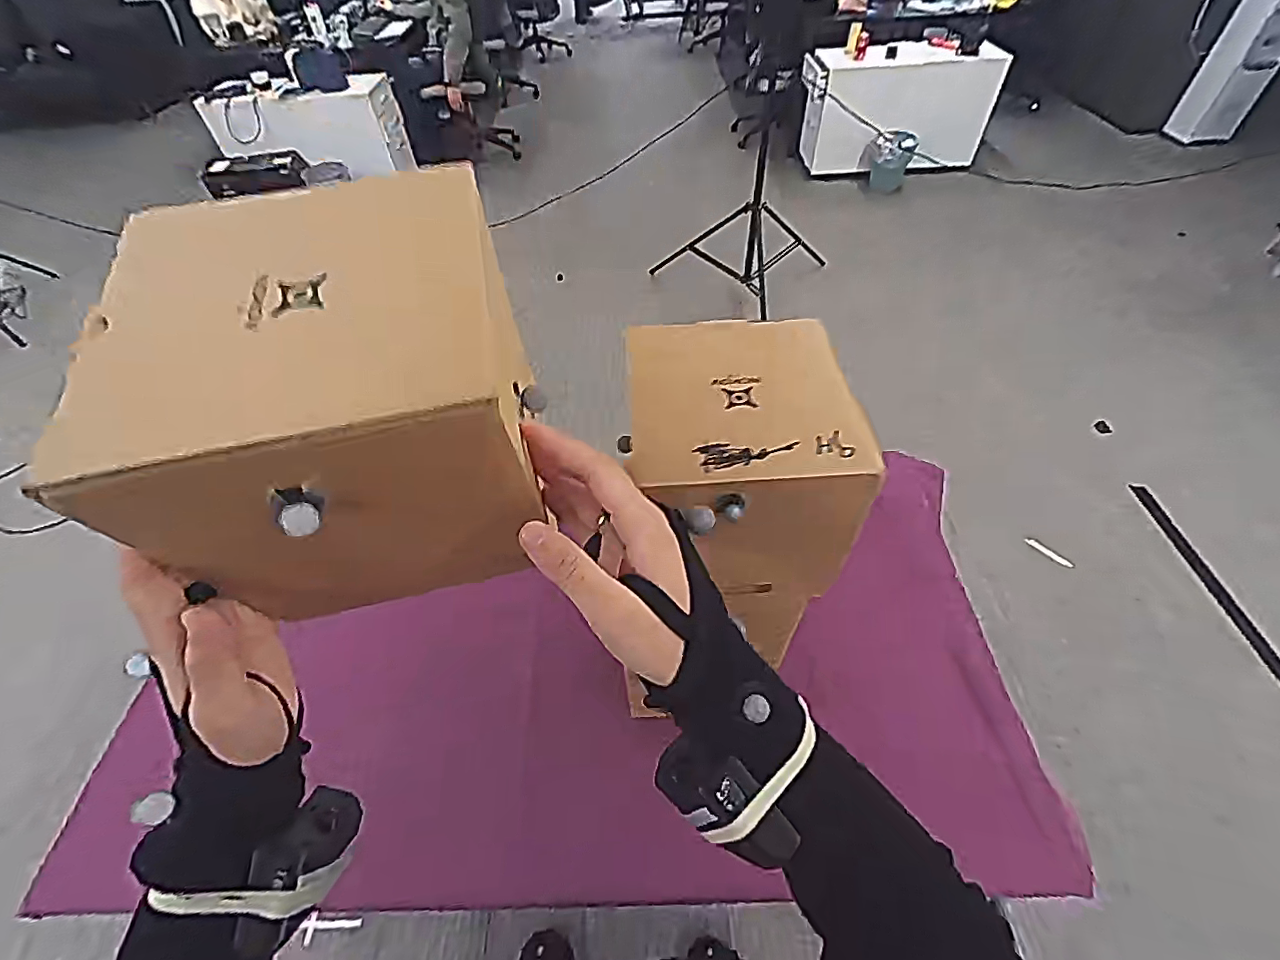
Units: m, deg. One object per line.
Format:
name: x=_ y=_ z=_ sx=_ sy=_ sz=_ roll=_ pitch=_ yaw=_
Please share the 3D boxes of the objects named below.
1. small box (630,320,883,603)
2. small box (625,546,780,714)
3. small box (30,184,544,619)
small box: x=0.076 y=-0.014 z=0.463 sx=0.168 sy=0.176 sz=0.179 roll=-4 pitch=49 yaw=1
small box: x=0.072 y=0.198 z=0.714 sx=0.179 sy=0.176 sz=0.168 roll=-4 pitch=49 yaw=1
small box: x=-0.159 y=-0.035 z=0.317 sx=0.179 sy=0.176 sz=0.168 roll=-13 pitch=59 yaw=-4
